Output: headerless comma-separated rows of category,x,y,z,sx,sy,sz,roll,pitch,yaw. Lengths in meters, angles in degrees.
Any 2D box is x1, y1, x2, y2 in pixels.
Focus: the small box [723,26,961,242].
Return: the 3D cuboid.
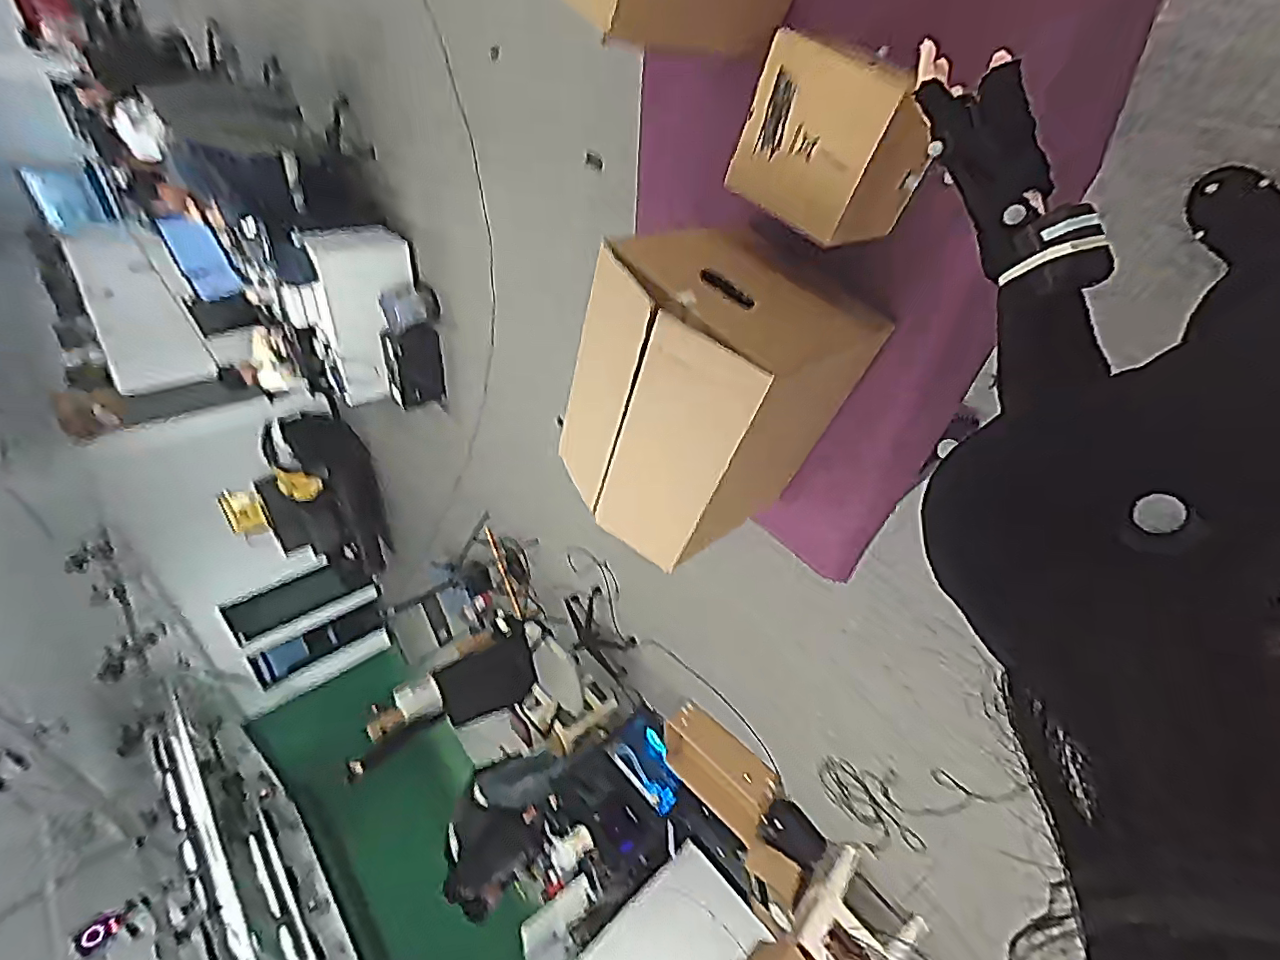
small box,0.241,-0.415,0.661,0.179,0.176,0.168,46,141,23
